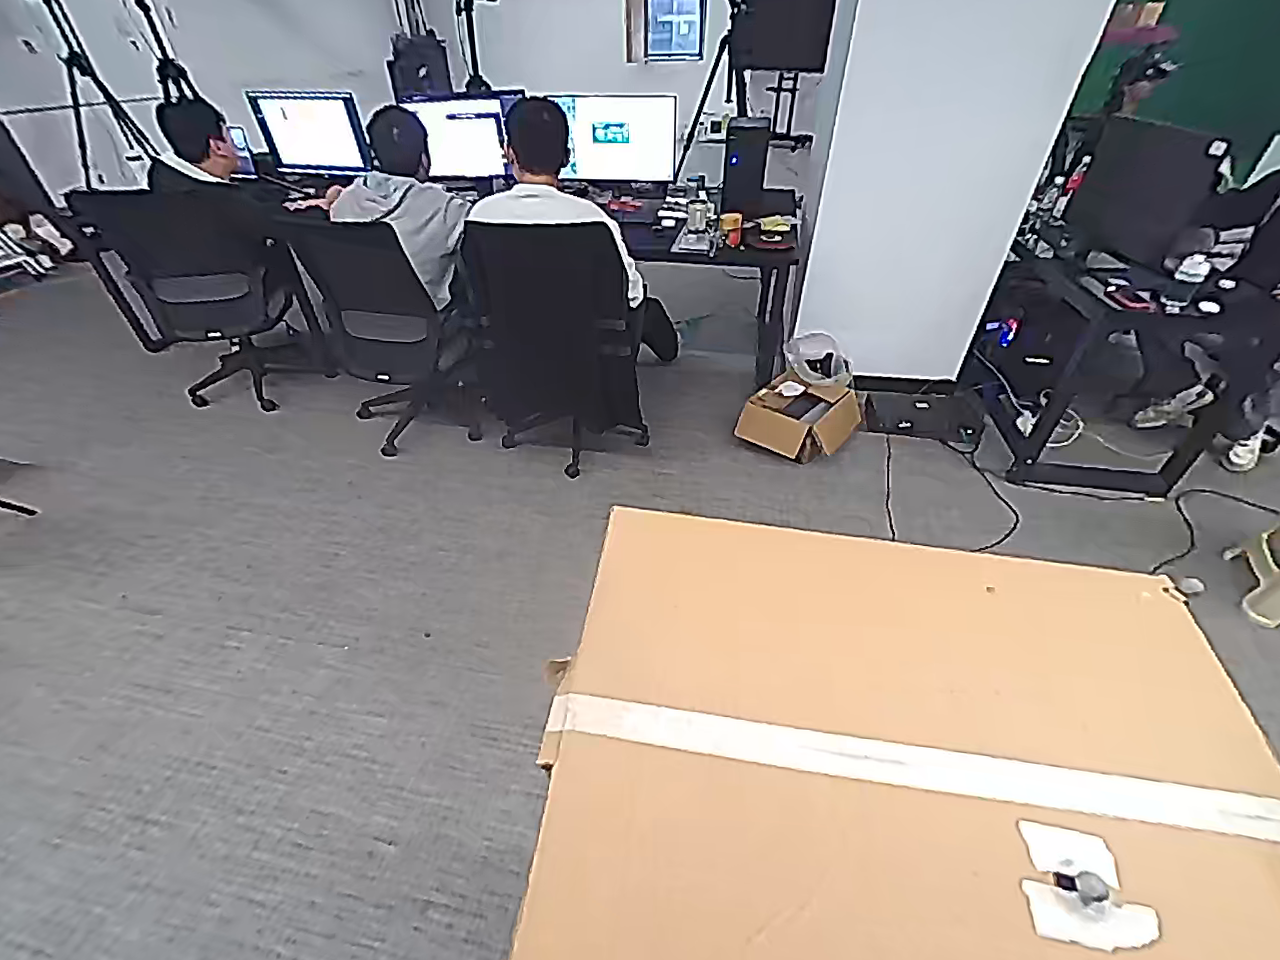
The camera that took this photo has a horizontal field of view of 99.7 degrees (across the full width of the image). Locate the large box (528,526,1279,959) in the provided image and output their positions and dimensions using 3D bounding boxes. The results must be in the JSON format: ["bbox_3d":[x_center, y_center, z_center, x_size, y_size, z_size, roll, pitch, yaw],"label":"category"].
[{"bbox_3d":[0.150,0.268,0.425,0.408,0.320,0.320,7,50,4],"label":"large box"}]
